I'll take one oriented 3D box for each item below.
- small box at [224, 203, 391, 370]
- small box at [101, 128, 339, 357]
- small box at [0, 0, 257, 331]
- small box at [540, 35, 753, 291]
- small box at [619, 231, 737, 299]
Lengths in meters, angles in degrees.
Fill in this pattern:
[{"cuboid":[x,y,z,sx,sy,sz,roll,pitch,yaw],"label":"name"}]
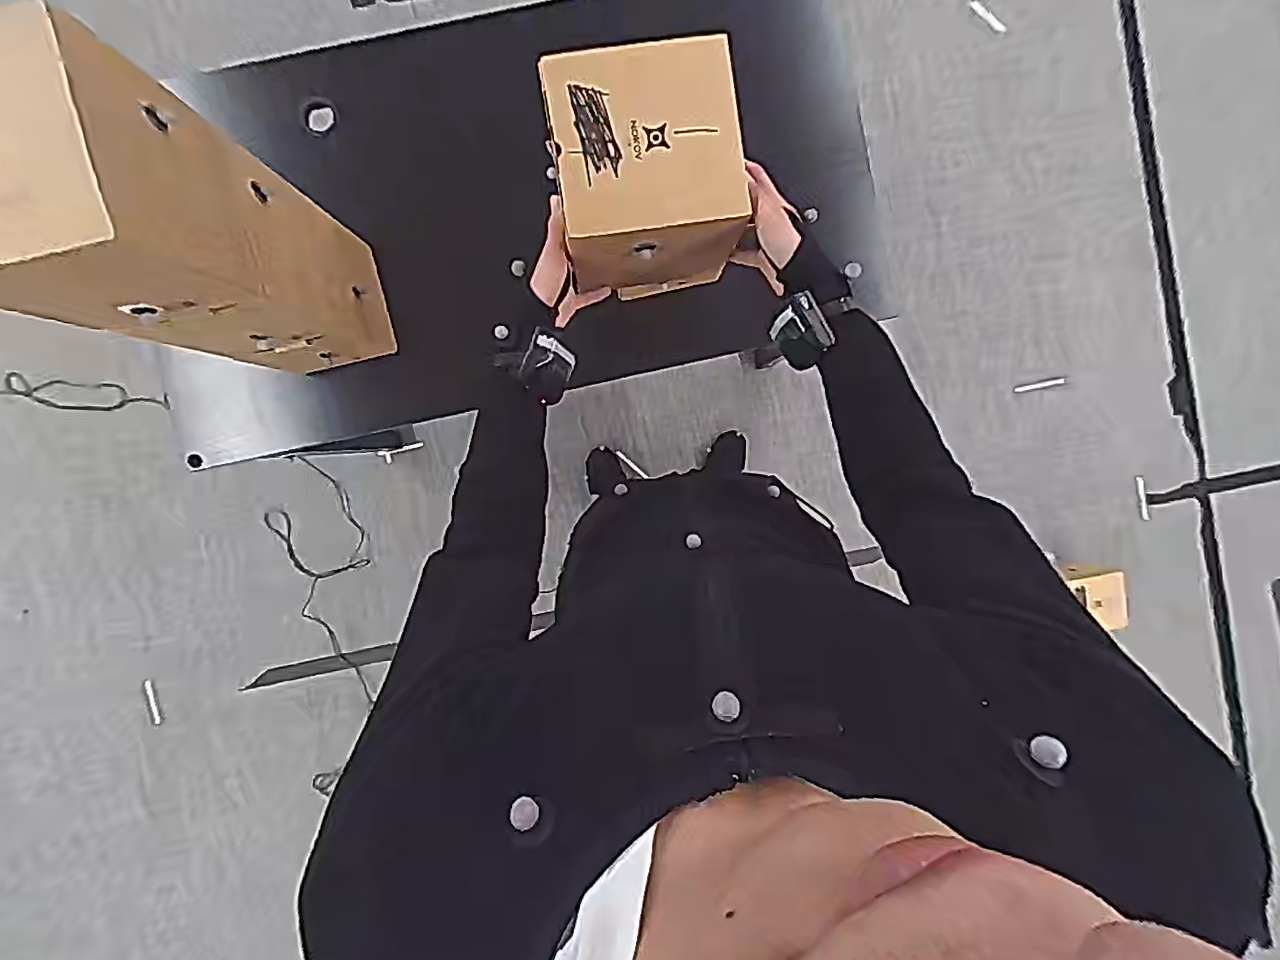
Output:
[{"cuboid":[-0.491,-0.265,0.788,0.168,0.176,0.179,-14,95,-1],"label":"small box"},{"cuboid":[-0.486,-0.256,0.623,0.168,0.176,0.179,-13,94,0],"label":"small box"},{"cuboid":[-0.479,-0.245,0.461,0.168,0.176,0.179,-14,95,0],"label":"small box"},{"cuboid":[0.004,-0.311,0.566,0.179,0.176,0.168,-9,93,-3],"label":"small box"},{"cuboid":[0.031,-0.389,0.798,0.168,0.176,0.179,-13,94,-1],"label":"small box"}]
